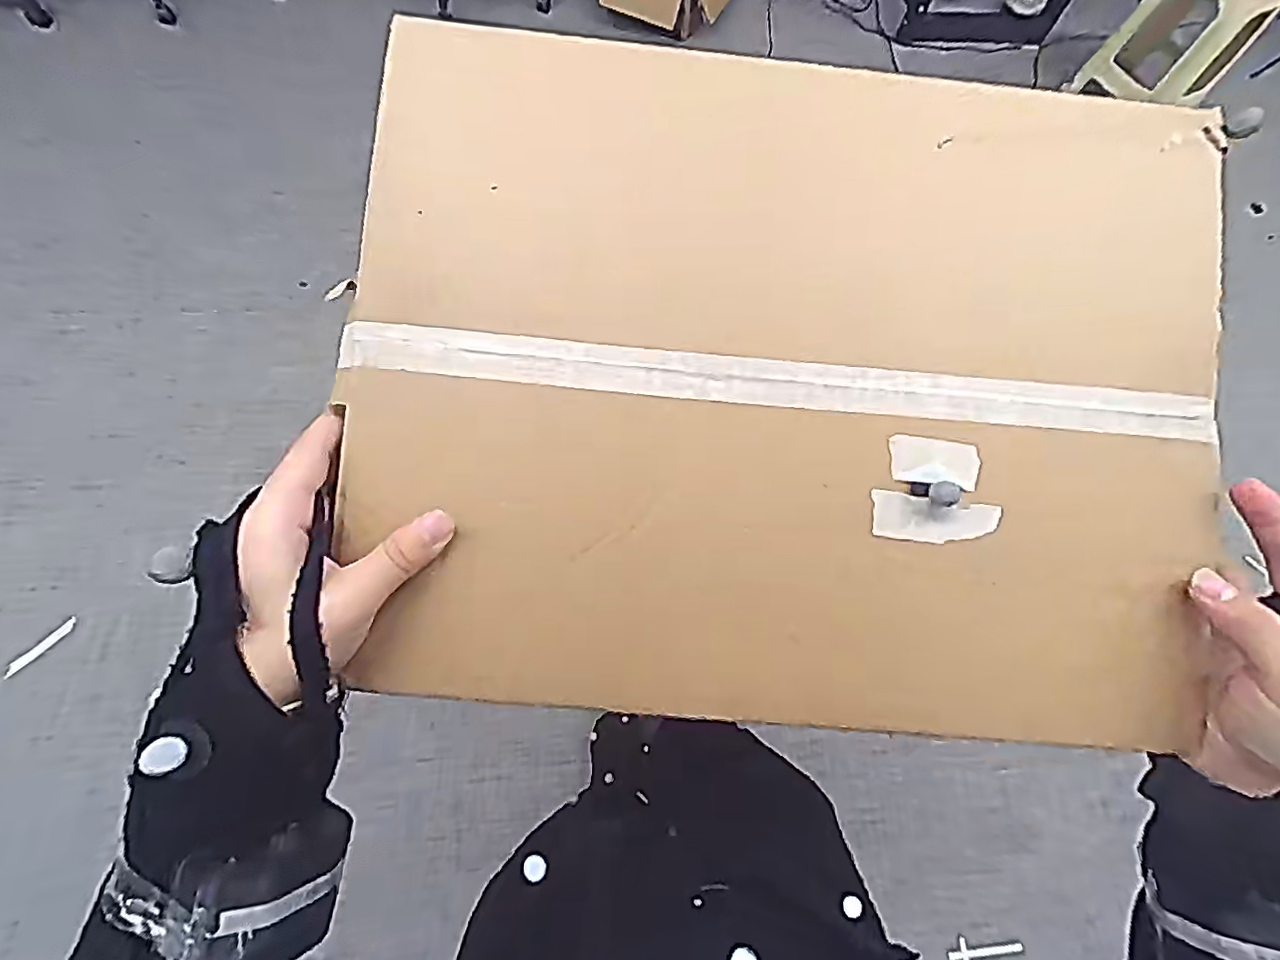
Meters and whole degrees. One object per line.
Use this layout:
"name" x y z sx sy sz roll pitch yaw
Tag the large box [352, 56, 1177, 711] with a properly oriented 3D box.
"large box" 0.063 -0.042 0.418 0.408 0.320 0.320 5 88 -2
